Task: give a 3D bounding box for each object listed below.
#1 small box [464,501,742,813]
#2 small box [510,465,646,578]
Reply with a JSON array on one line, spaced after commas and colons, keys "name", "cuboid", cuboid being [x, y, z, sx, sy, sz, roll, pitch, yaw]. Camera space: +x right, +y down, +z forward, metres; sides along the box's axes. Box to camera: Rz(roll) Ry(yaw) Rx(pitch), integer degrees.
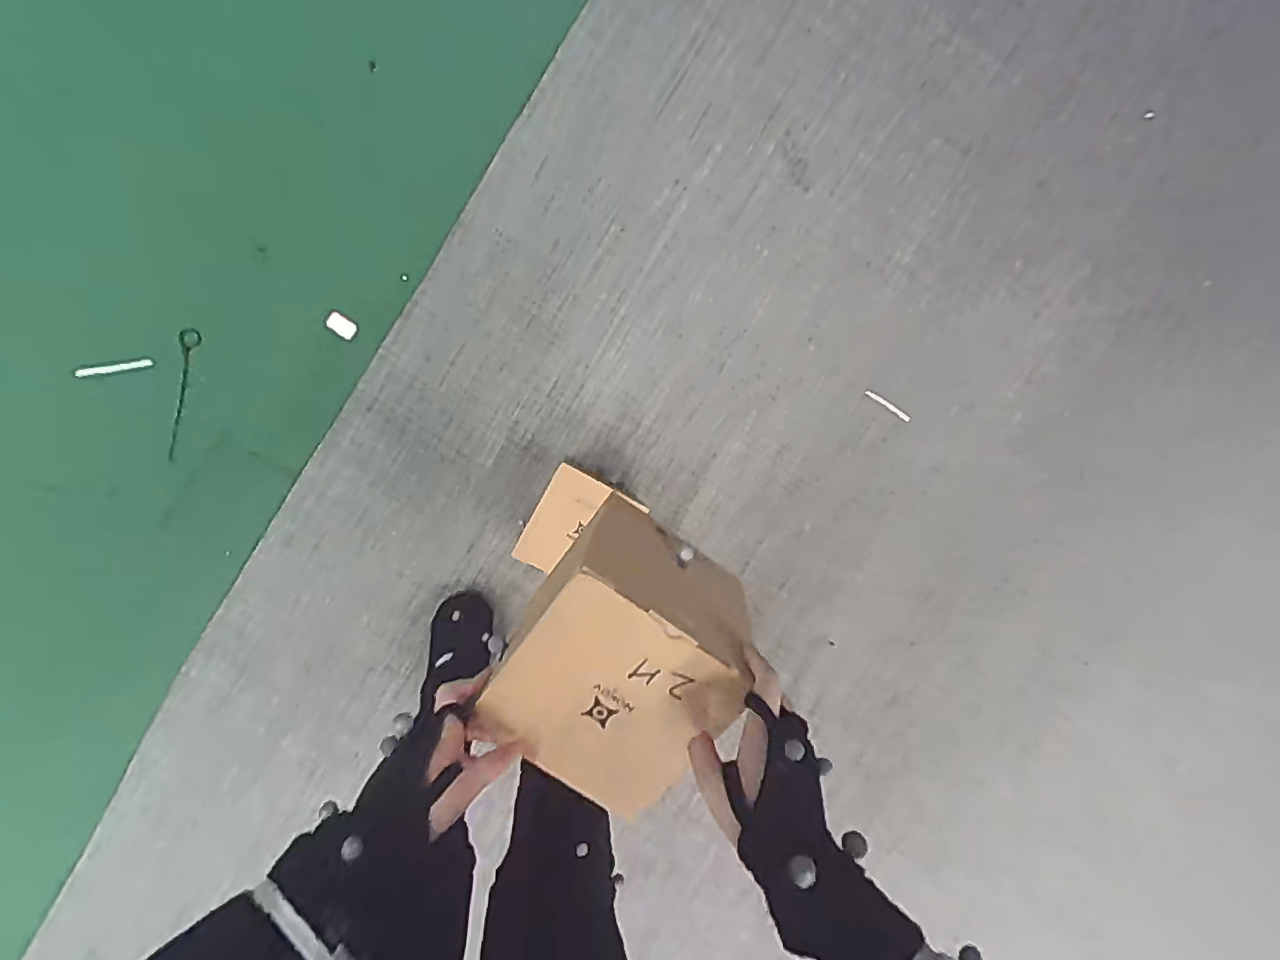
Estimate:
[{"name": "small box", "cuboid": [-0.024, 0.151, 0.504, 0.168, 0.176, 0.179, 36, 108, -6]}, {"name": "small box", "cuboid": [-0.107, 0.088, 0.959, 0.168, 0.176, 0.179, 29, 91, -9]}]
